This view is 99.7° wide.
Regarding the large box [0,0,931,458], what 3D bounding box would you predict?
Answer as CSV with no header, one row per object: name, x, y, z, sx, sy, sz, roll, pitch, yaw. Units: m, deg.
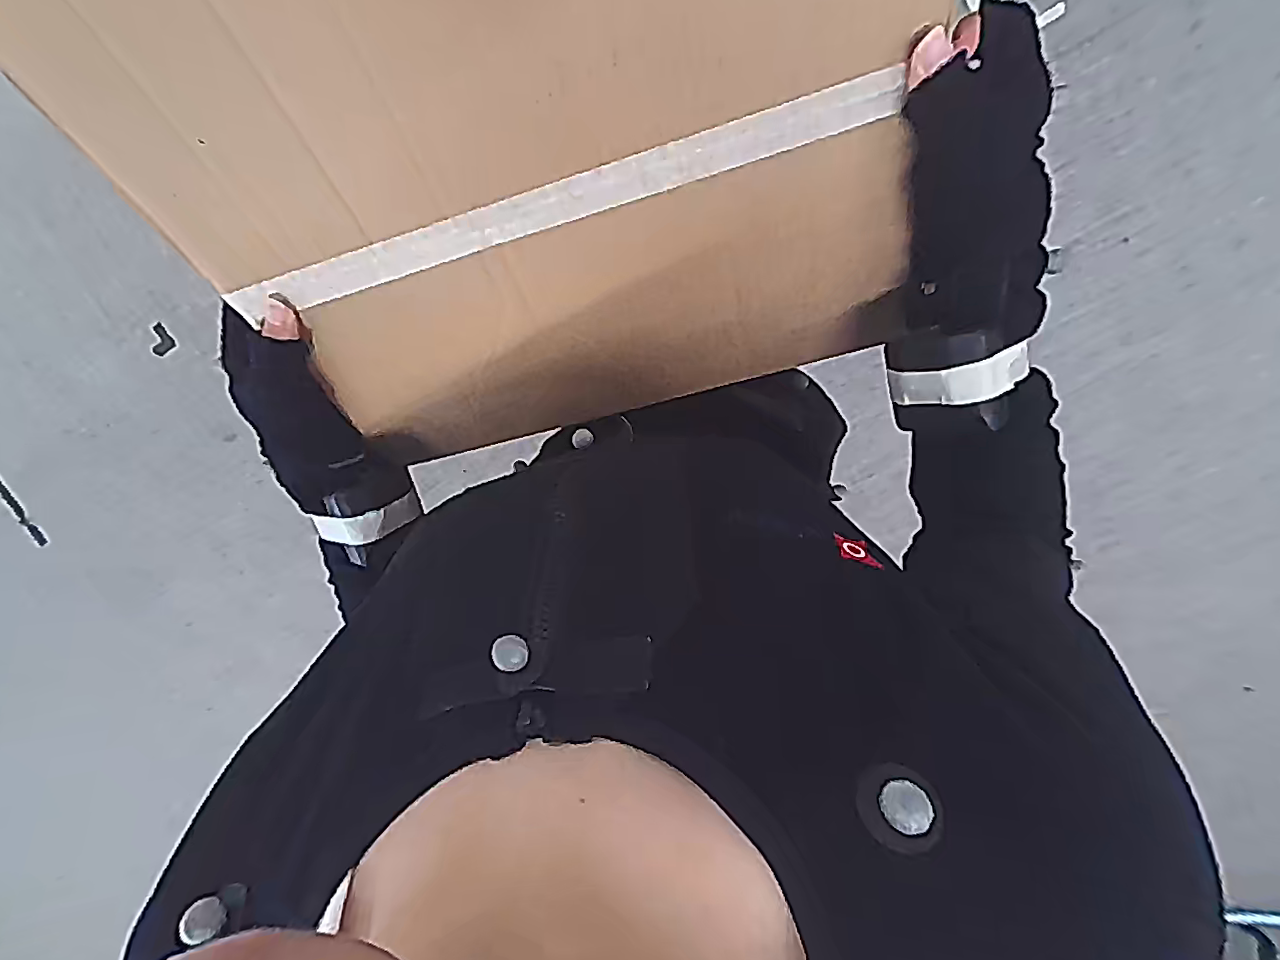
large box,-0.056,-0.269,0.401,0.408,0.320,0.320,-13,139,10
